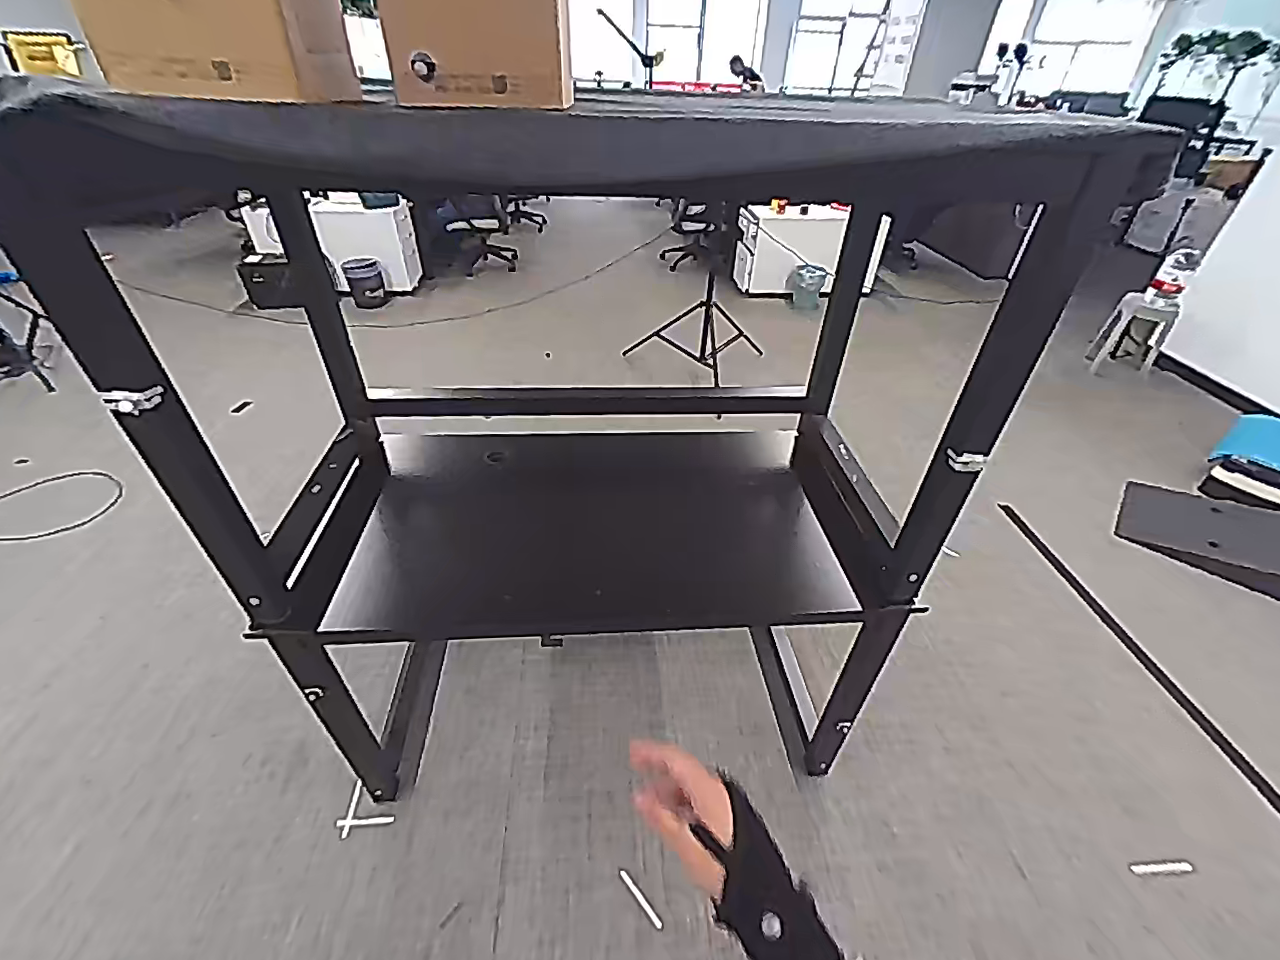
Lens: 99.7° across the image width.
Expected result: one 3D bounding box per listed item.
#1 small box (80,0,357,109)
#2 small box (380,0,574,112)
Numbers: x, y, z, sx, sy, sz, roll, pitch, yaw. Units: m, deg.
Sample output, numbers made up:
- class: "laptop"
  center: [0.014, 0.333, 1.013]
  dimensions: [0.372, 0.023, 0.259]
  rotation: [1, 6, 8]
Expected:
- class: "small box"
  center: [-0.397, -0.459, 0.516]
  dimensions: [0.168, 0.176, 0.179]
  rotation: [-1, 36, -5]
- class: "small box"
  center: [-0.157, -0.482, 0.556]
  dimensions: [0.168, 0.176, 0.179]
  rotation: [0, 35, -3]
